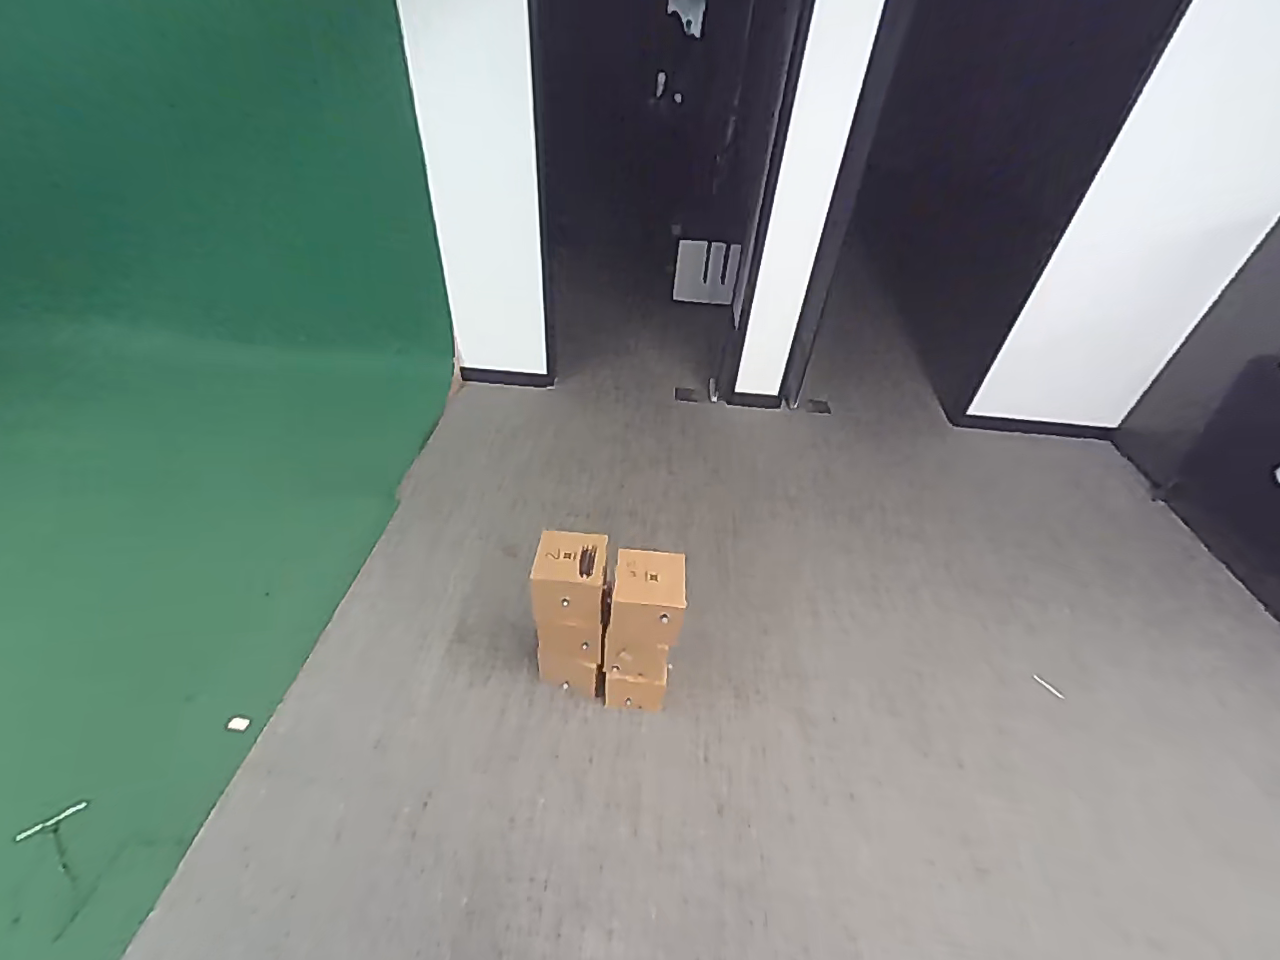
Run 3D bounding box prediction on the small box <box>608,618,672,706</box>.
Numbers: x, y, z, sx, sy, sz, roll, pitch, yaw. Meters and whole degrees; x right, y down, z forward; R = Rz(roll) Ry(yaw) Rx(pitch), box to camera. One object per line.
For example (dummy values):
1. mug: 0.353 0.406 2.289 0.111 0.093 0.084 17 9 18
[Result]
1. small box: -0.001 0.533 1.581 0.168 0.176 0.179 6 43 1
